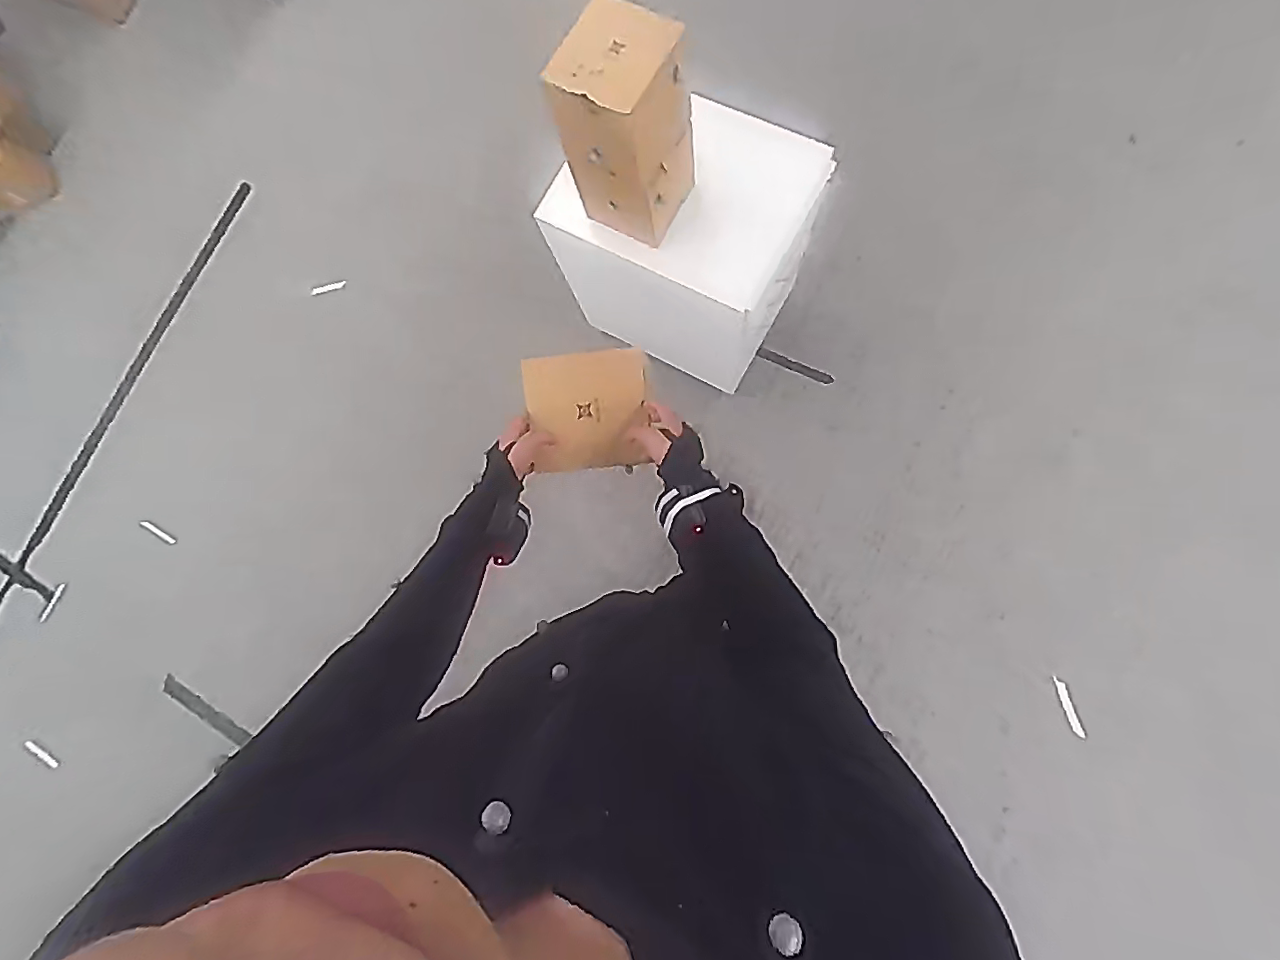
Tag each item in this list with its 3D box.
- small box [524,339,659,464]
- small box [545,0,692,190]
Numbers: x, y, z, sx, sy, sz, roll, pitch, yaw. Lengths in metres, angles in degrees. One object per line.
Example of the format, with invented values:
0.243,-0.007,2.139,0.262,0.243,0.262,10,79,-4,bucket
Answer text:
-0.066,-0.115,0.845,0.179,0.176,0.168,-6,95,3,small box
-0.026,-0.632,0.896,0.168,0.176,0.179,31,87,12,small box
